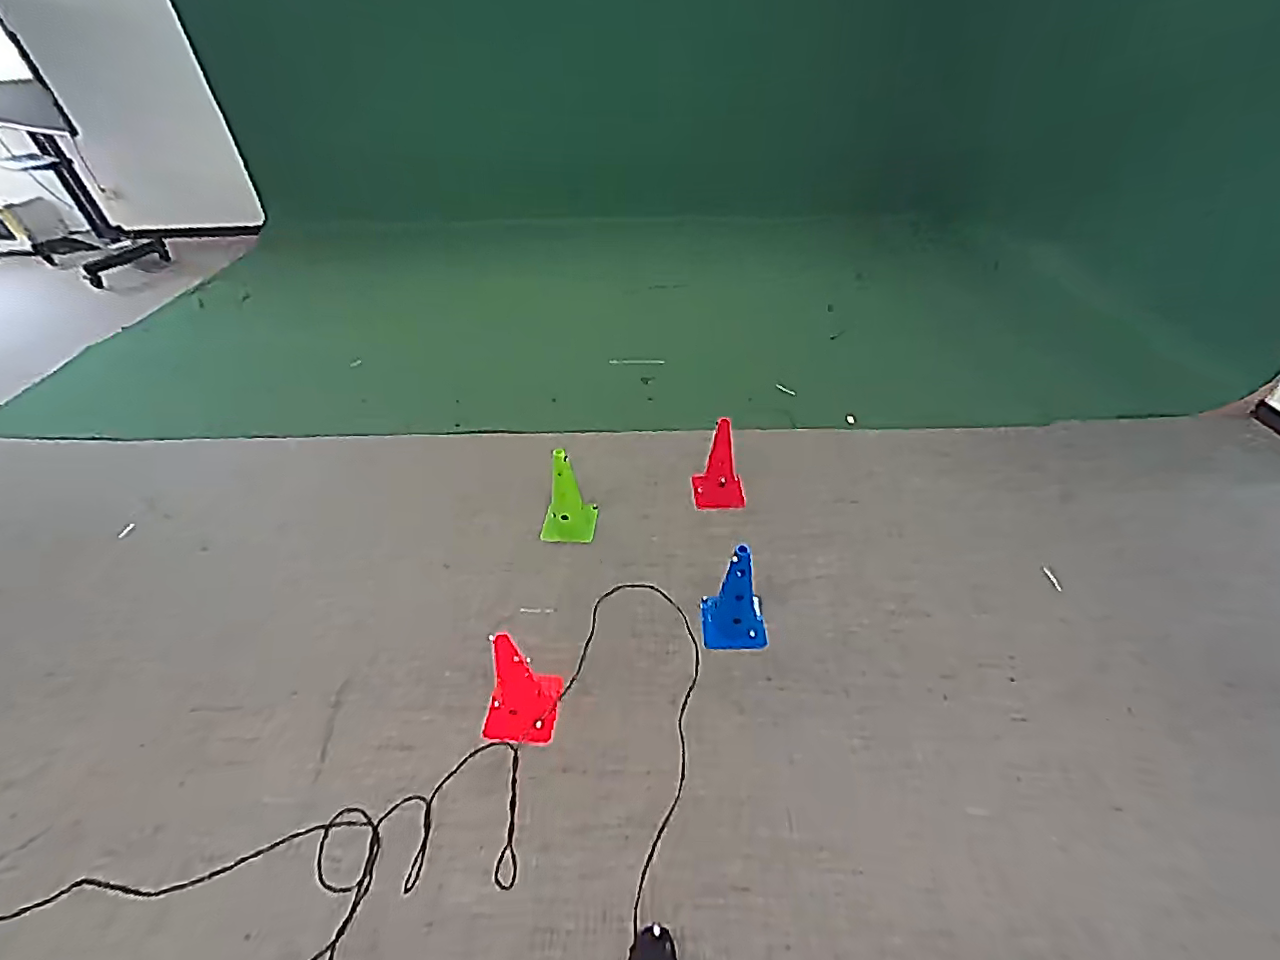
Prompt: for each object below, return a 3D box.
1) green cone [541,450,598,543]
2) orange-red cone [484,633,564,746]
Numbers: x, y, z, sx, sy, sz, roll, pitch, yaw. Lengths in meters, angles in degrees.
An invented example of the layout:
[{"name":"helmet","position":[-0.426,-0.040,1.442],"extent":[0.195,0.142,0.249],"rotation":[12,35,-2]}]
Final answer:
[{"name":"green cone","position":[-0.277,0.038,1.985],"extent":[0.200,0.368,0.202],"rotation":[1,42,4]},{"name":"orange-red cone","position":[-0.332,0.523,1.439],"extent":[0.198,0.360,0.199],"rotation":[3,40,5]}]
